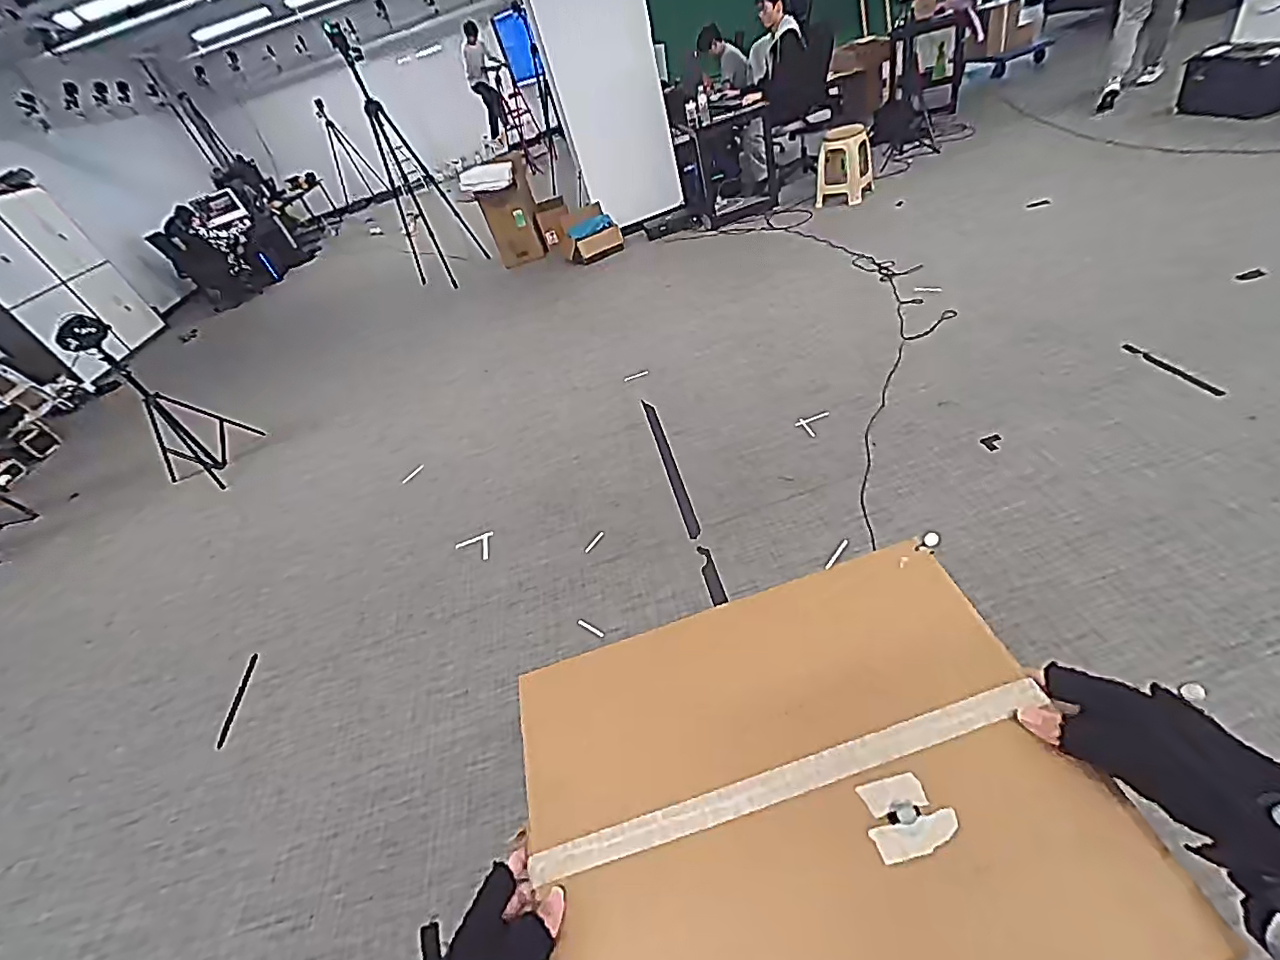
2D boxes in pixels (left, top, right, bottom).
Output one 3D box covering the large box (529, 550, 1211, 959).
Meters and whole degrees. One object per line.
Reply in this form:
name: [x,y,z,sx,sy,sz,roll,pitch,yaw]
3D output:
large box: [0.149,0.335,0.524,0.408,0.320,0.320,-20,46,-1]
